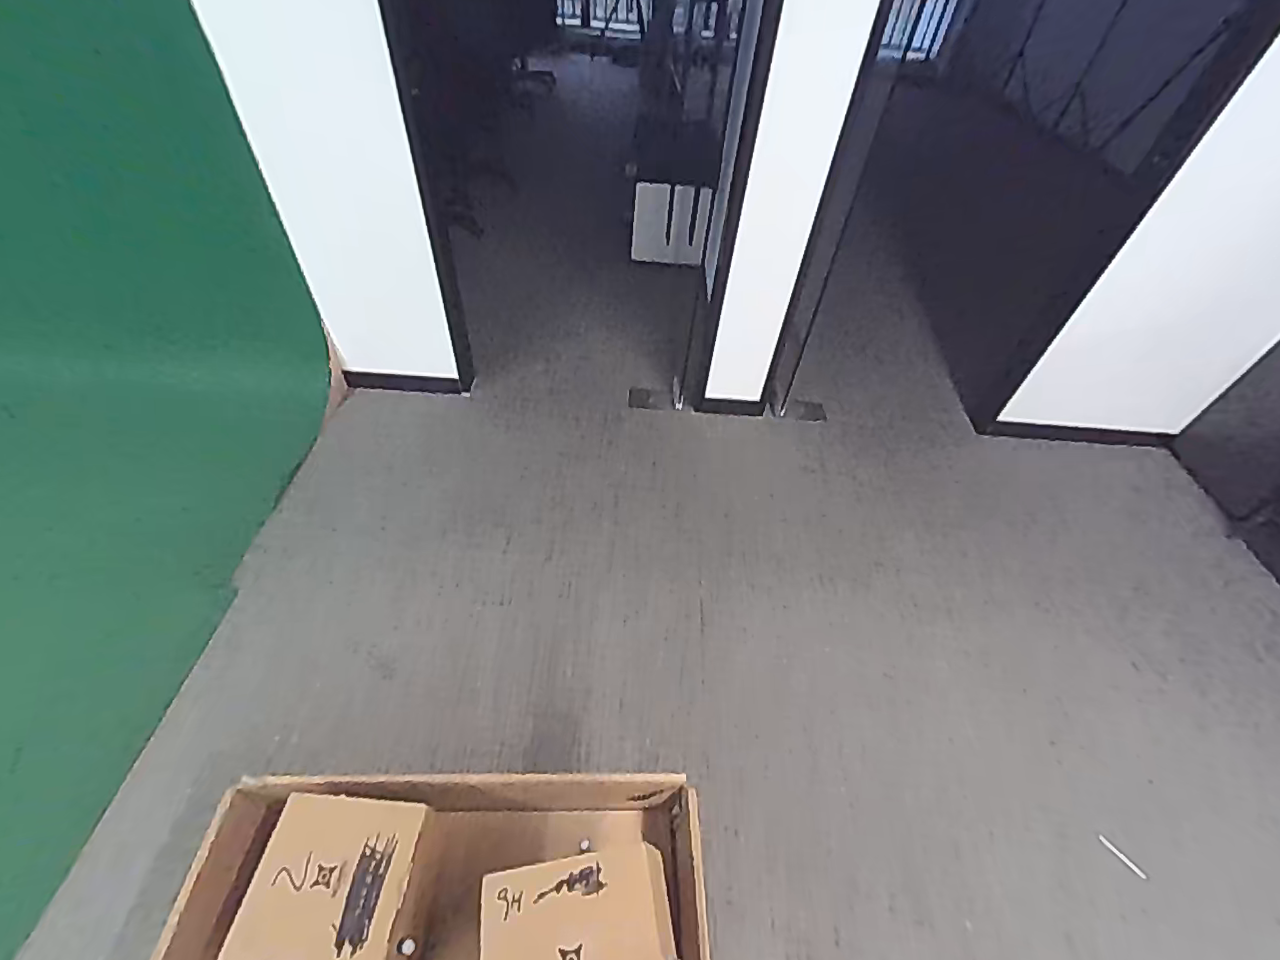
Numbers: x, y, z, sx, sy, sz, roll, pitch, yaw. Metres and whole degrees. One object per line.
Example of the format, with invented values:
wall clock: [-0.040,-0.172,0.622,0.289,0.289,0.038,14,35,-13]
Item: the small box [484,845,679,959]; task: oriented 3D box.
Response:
small box: [-0.049,0.481,0.540,0.168,0.176,0.179,-11,54,0]
